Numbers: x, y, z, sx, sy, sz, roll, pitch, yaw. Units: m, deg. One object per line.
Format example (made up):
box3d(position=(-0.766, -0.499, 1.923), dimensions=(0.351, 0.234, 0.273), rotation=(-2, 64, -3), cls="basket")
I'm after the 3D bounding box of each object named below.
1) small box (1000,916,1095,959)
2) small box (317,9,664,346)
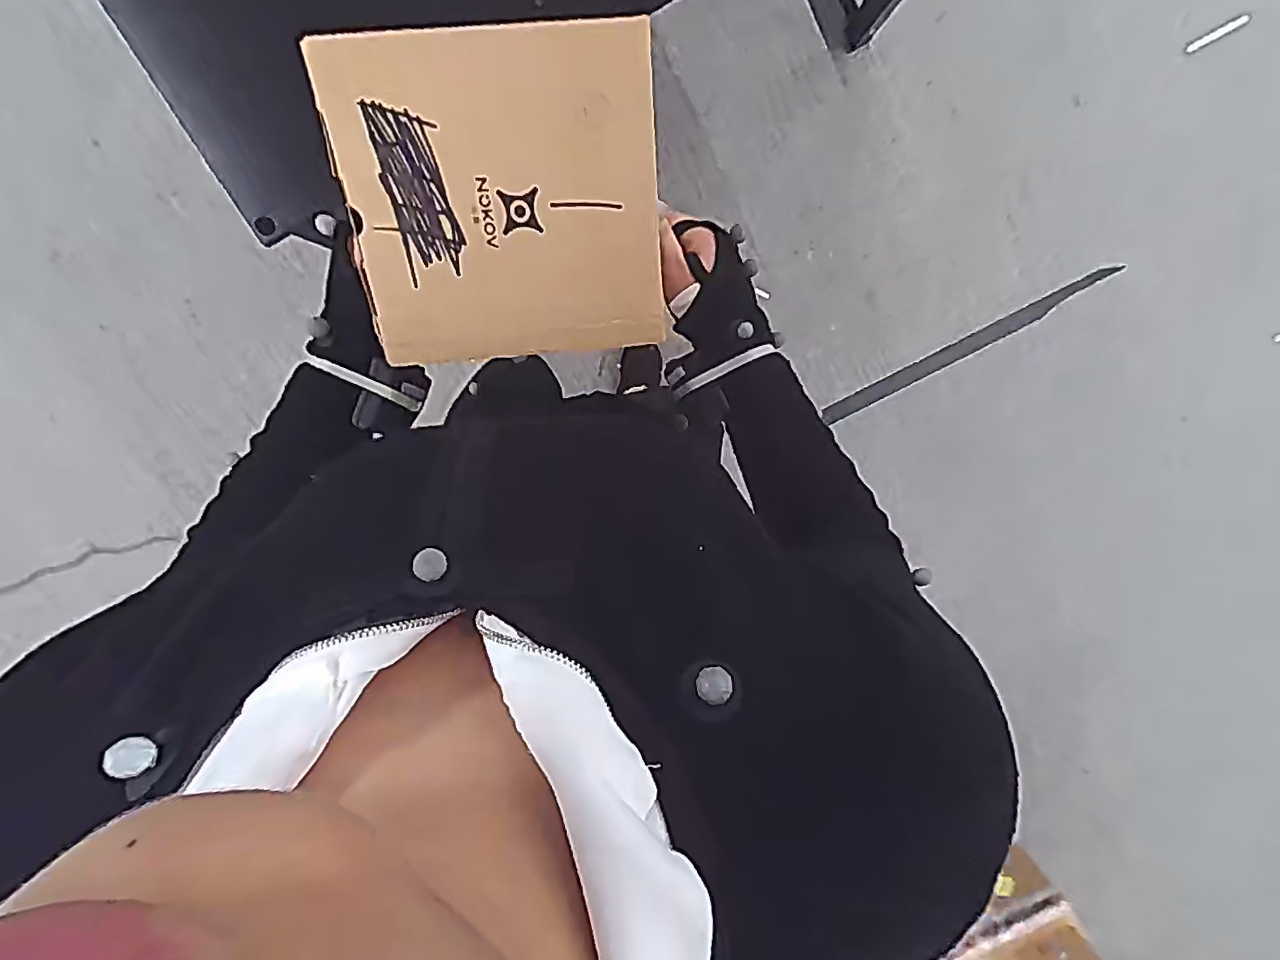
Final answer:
box3d(position=(0.991, 1.179, 1.255), dimensions=(0.168, 0.176, 0.179), rotation=(-29, 98, 2), cls="small box")
box3d(position=(-0.080, -0.198, 0.382), dimensions=(0.179, 0.176, 0.168), rotation=(-5, 117, -2), cls="small box")
